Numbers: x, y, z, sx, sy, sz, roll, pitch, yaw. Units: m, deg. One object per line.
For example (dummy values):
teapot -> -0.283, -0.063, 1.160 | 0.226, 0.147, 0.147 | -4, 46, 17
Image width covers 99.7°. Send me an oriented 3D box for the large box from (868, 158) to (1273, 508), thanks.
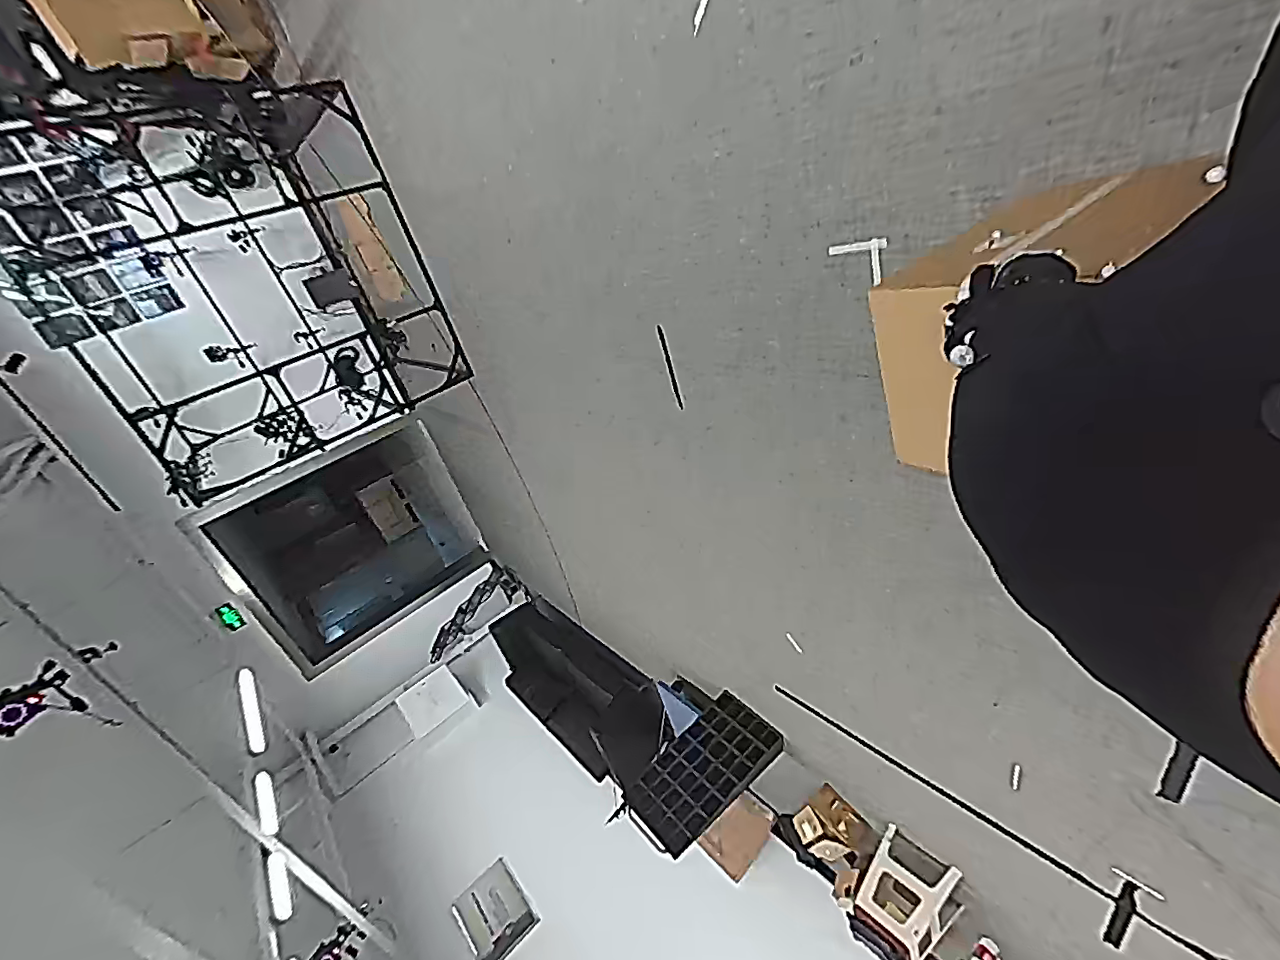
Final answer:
large box -> 0.624, -0.220, 0.814 | 0.320, 0.408, 0.320 | 27, 145, 59
